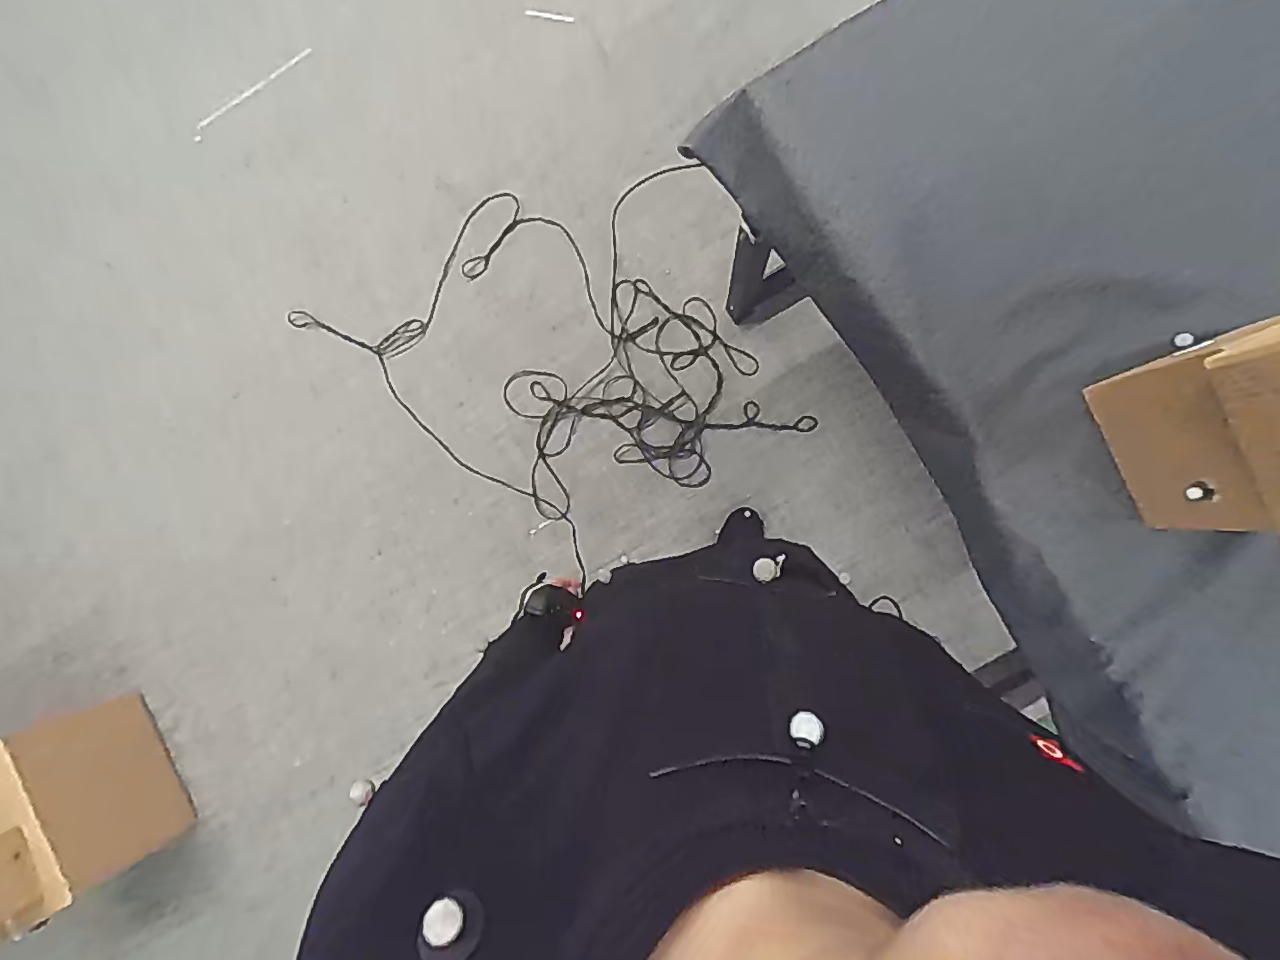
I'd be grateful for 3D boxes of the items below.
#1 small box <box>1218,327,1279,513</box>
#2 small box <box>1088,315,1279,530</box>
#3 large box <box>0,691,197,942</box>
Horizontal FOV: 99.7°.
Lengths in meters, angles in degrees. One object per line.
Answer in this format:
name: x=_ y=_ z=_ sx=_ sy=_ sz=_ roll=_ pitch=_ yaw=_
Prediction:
small box: x=0.582 y=-0.060 z=0.374 sx=0.168 sy=0.176 sz=0.179 roll=-21 pitch=86 yaw=2
small box: x=0.612 y=-0.062 z=0.536 sx=0.168 sy=0.176 sz=0.179 roll=-22 pitch=85 yaw=2
large box: x=-1.436 y=0.819 z=1.346 sx=0.320 sy=0.320 sz=0.408 roll=-31 pitch=84 yaw=2
